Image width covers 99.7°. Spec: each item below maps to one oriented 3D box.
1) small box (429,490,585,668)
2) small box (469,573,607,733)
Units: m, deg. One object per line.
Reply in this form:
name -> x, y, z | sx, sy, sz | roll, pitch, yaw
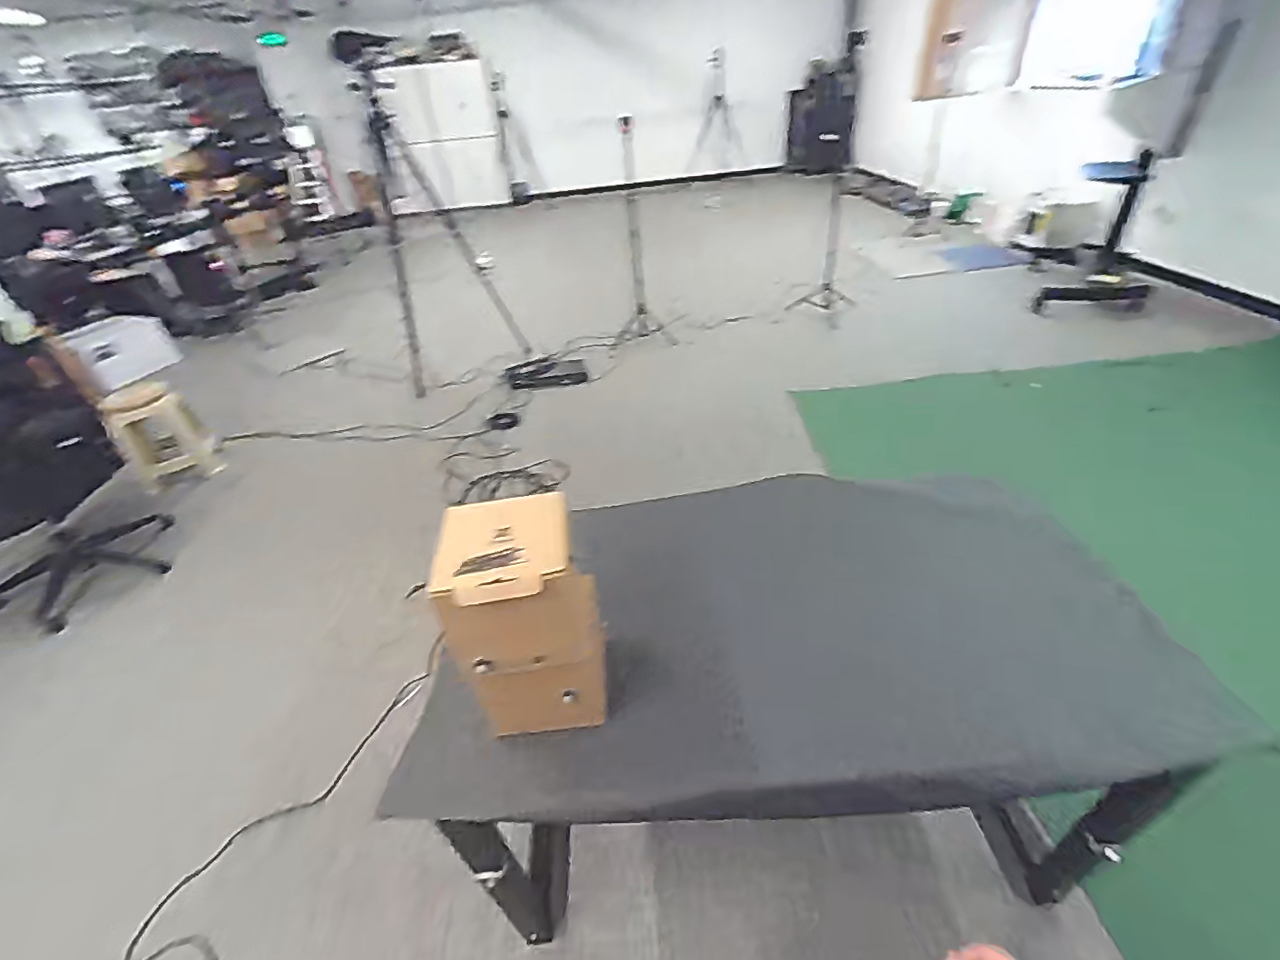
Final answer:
small box -> -0.171, 0.140, 0.751 | 0.168, 0.176, 0.179 | -9, 34, -4
small box -> -0.146, 0.270, 0.849 | 0.179, 0.176, 0.168 | -7, 35, 0
